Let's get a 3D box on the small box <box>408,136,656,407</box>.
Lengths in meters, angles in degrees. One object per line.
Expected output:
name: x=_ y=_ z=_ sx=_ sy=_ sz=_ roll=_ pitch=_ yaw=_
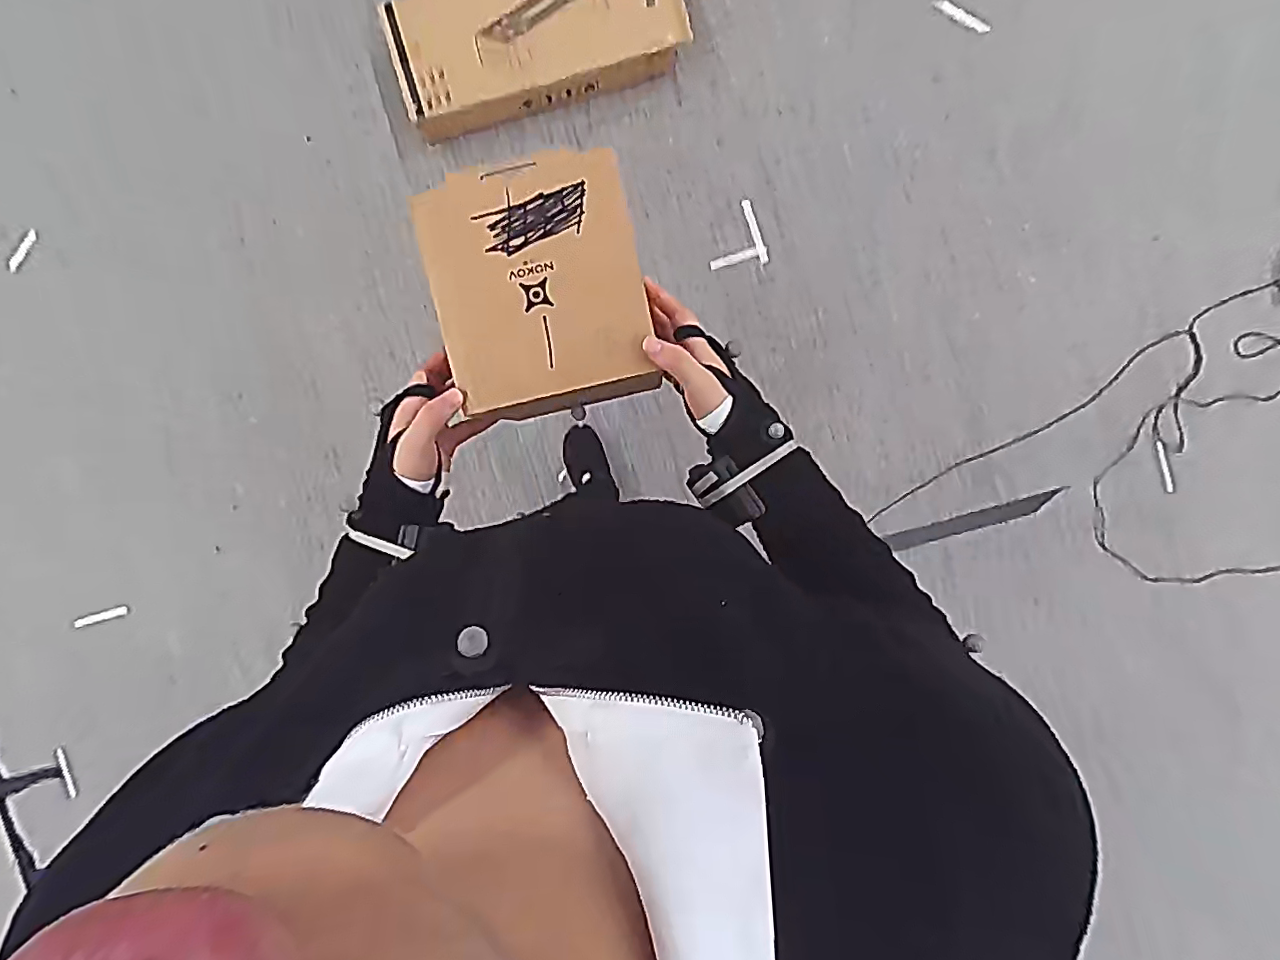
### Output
small box: x=-0.082 y=-0.171 z=0.502 sx=0.168 sy=0.176 sz=0.179 roll=-12 pitch=95 yaw=4
